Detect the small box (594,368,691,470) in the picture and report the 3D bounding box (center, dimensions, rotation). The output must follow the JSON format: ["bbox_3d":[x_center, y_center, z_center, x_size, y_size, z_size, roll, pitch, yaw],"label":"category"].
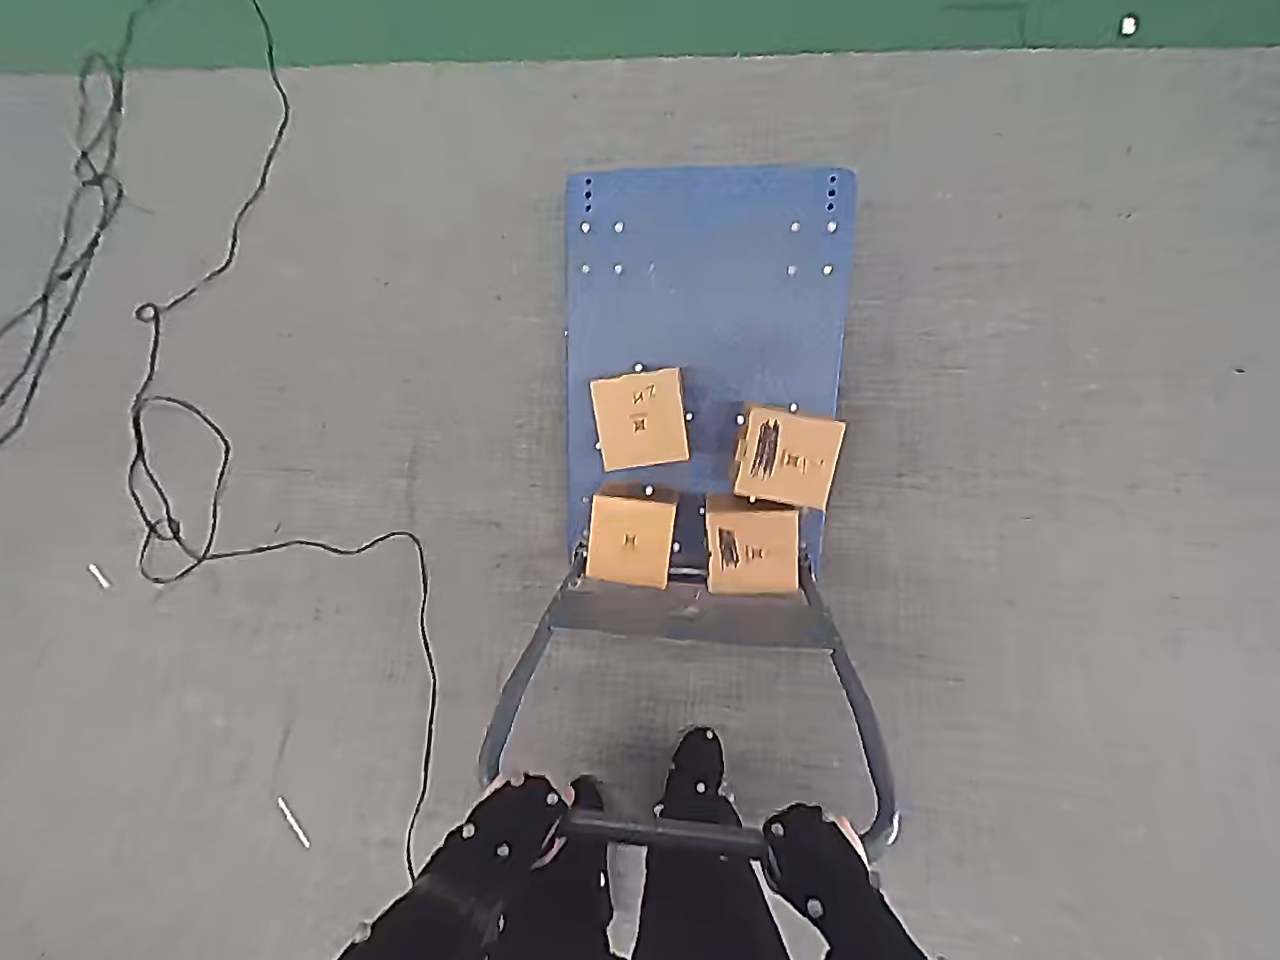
[{"bbox_3d":[0.013,-0.129,1.097,0.168,0.176,0.179,-8,100,7],"label":"small box"}]

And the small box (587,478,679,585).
[{"bbox_3d":[-0.009,0.100,1.146,0.168,0.176,0.179,8,103,4],"label":"small box"}]
